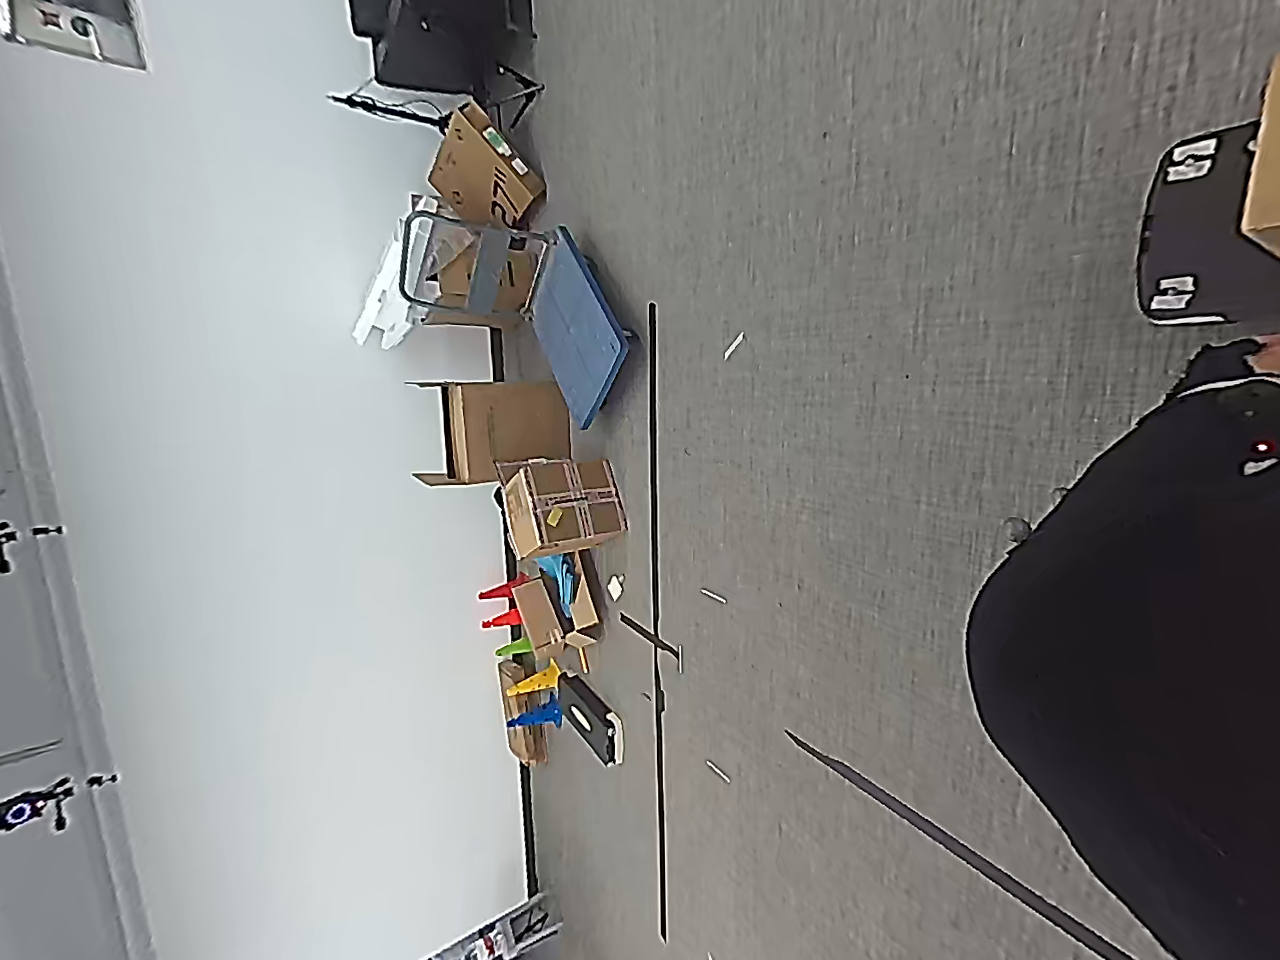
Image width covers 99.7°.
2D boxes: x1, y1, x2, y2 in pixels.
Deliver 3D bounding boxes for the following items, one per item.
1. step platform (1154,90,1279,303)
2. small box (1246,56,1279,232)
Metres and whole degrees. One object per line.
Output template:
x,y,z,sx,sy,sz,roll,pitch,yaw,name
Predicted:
1.104,-0.406,0.663,0.684,0.204,0.286,14,108,56,step platform
0.775,-0.364,0.554,0.168,0.176,0.179,16,110,55,small box
